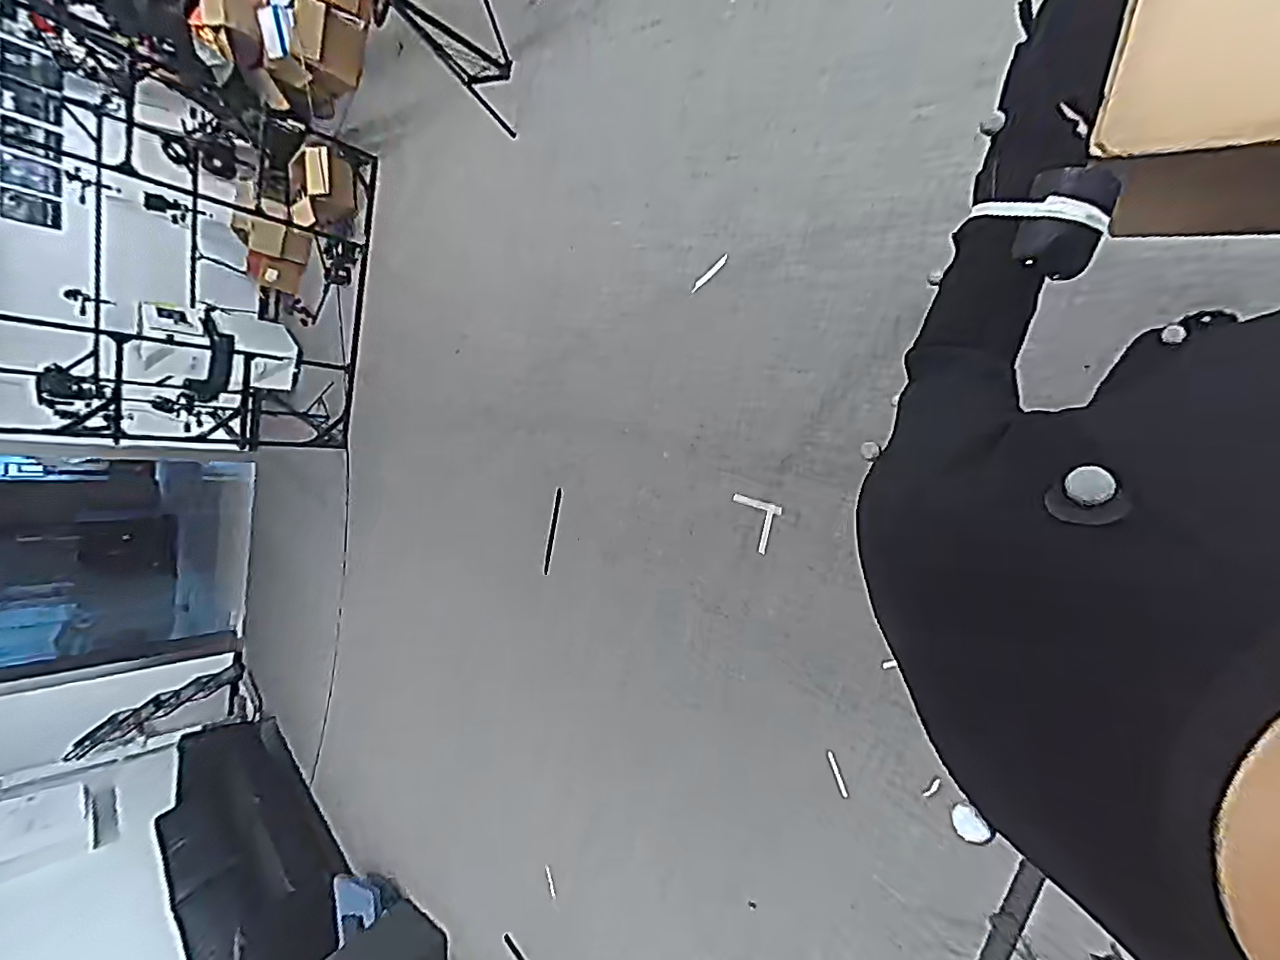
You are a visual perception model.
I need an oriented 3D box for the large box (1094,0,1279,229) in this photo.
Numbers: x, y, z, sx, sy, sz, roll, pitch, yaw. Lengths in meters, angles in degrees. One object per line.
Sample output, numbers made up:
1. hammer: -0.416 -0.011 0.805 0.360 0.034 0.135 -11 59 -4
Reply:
1. large box: 0.589 -0.364 0.345 0.408 0.320 0.320 19 111 39
